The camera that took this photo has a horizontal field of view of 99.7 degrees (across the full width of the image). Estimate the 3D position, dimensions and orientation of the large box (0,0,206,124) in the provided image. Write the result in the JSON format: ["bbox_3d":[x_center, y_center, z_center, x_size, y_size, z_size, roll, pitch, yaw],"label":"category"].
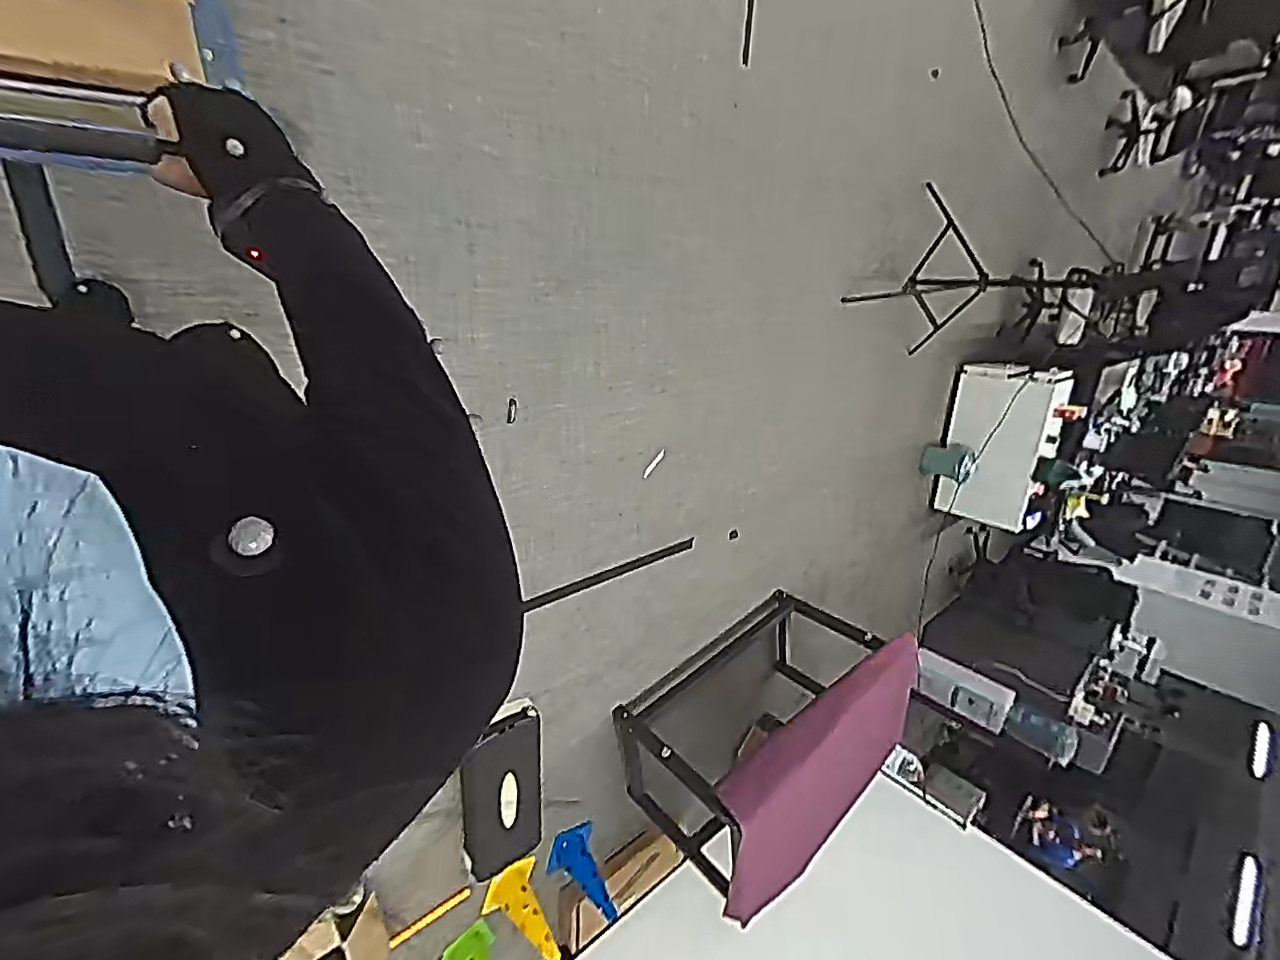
[{"bbox_3d":[-0.837,-0.667,0.662,0.408,0.320,0.320,-17,120,-39],"label":"large box"}]
